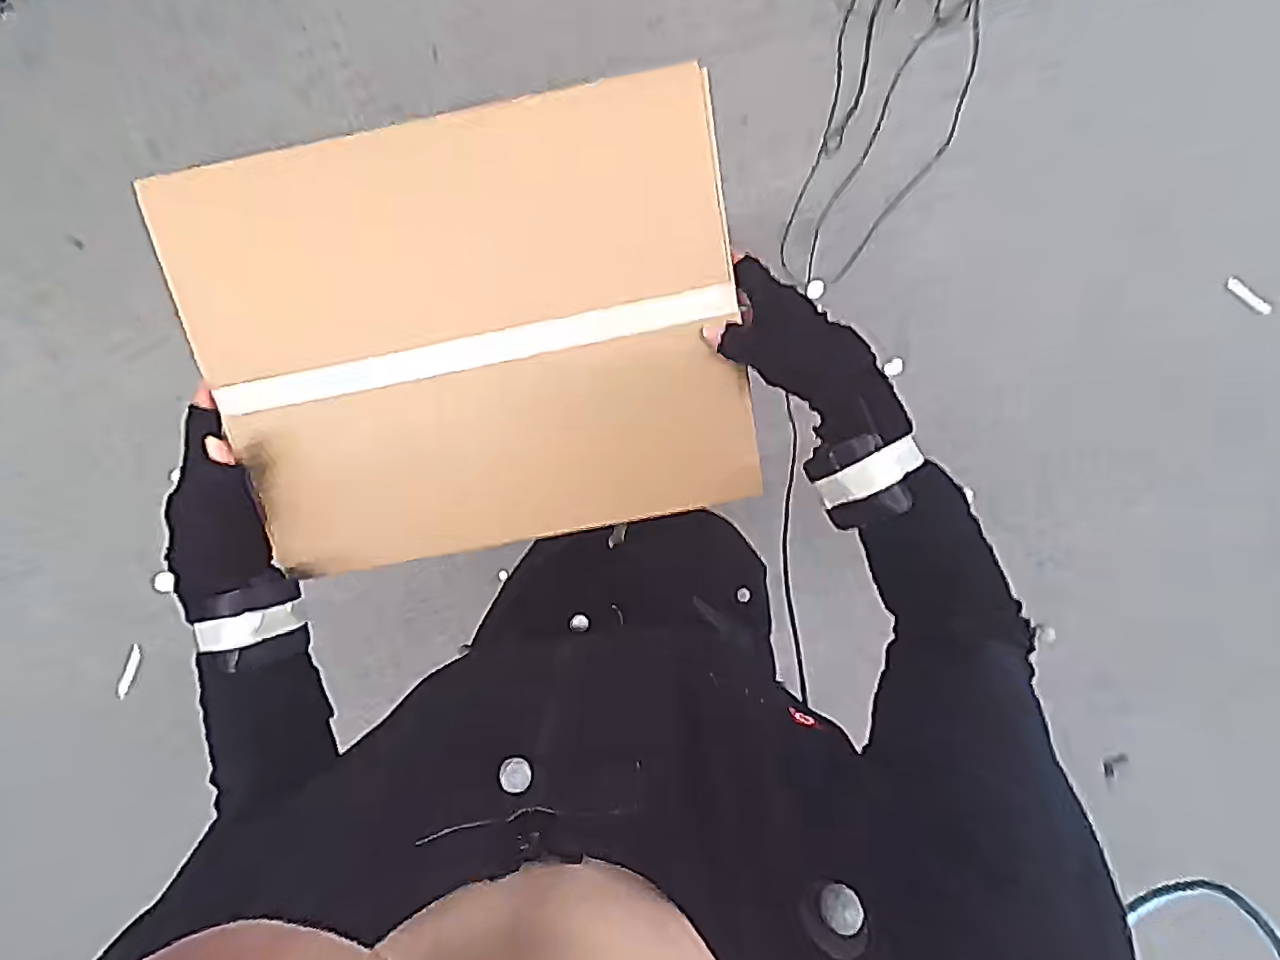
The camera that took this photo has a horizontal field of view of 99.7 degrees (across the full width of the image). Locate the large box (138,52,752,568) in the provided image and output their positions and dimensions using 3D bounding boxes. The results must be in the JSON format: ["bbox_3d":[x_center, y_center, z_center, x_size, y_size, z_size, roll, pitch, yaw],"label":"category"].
[{"bbox_3d":[-0.132,-0.147,0.553,0.408,0.320,0.320,-11,104,2],"label":"large box"}]
